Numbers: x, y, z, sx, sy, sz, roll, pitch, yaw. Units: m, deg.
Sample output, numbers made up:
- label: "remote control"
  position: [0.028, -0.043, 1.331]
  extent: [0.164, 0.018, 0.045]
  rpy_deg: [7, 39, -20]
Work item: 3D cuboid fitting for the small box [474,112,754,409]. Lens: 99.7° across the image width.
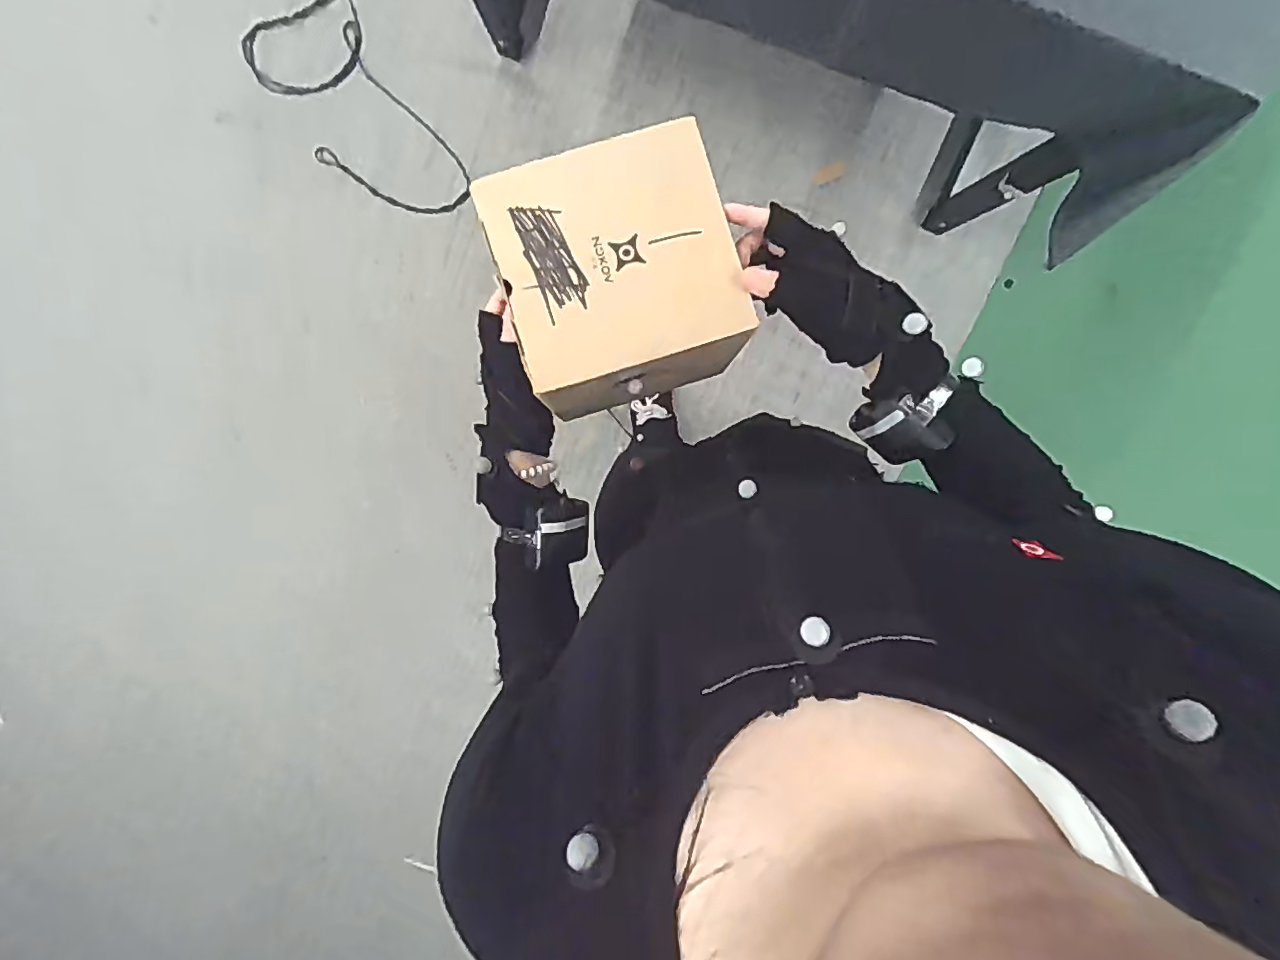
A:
- label: "small box"
  position: [-0.020, -0.170, 0.476]
  extent: [0.179, 0.176, 0.168]
  rpy_deg: [-16, 90, -2]
